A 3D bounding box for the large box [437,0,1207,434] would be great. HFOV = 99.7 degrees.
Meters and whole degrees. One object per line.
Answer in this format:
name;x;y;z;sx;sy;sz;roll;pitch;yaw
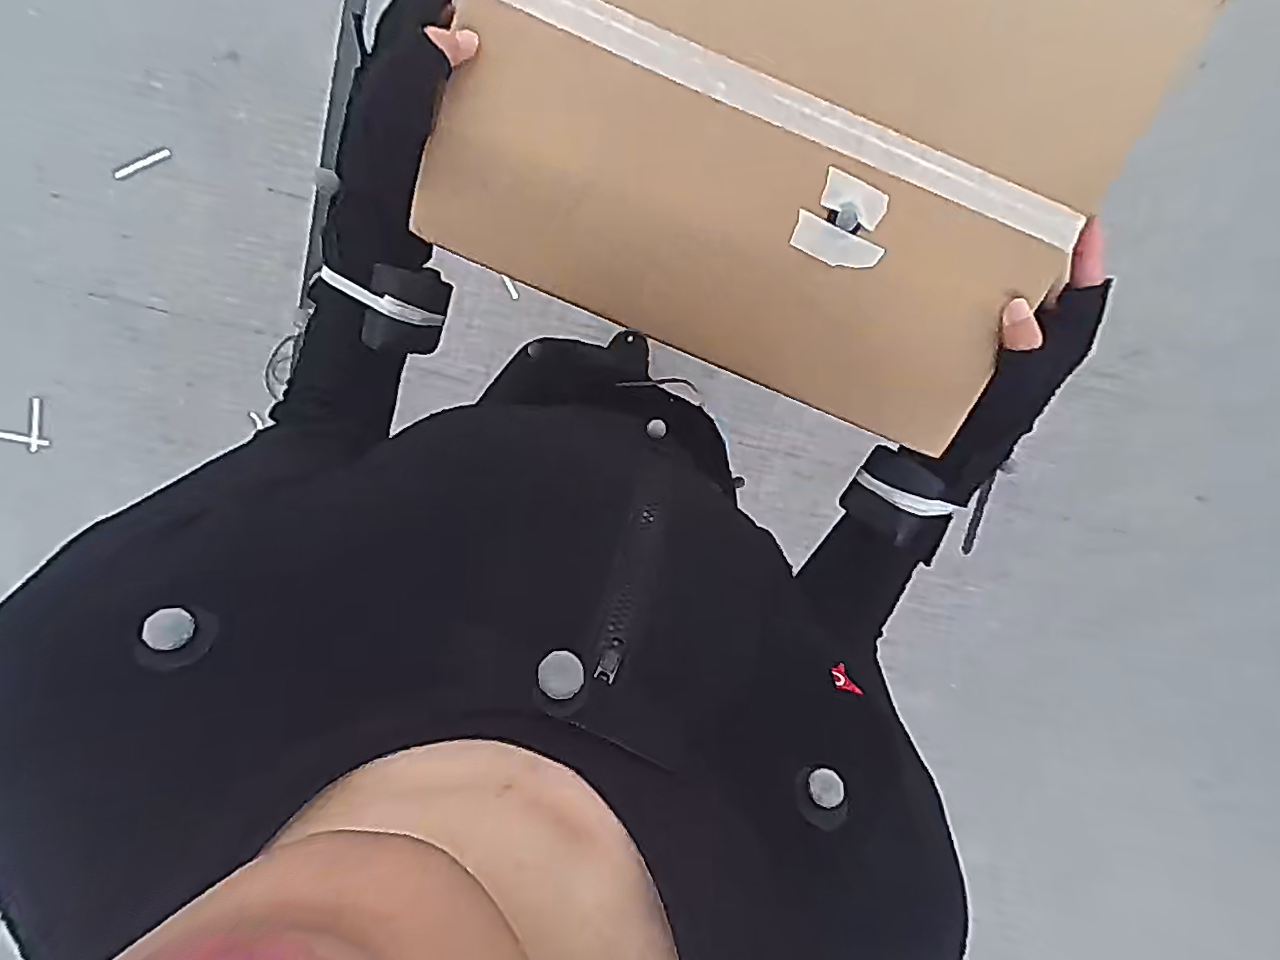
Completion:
large box;0.104;-0.285;0.482;0.408;0.320;0.320;23;110;-3
